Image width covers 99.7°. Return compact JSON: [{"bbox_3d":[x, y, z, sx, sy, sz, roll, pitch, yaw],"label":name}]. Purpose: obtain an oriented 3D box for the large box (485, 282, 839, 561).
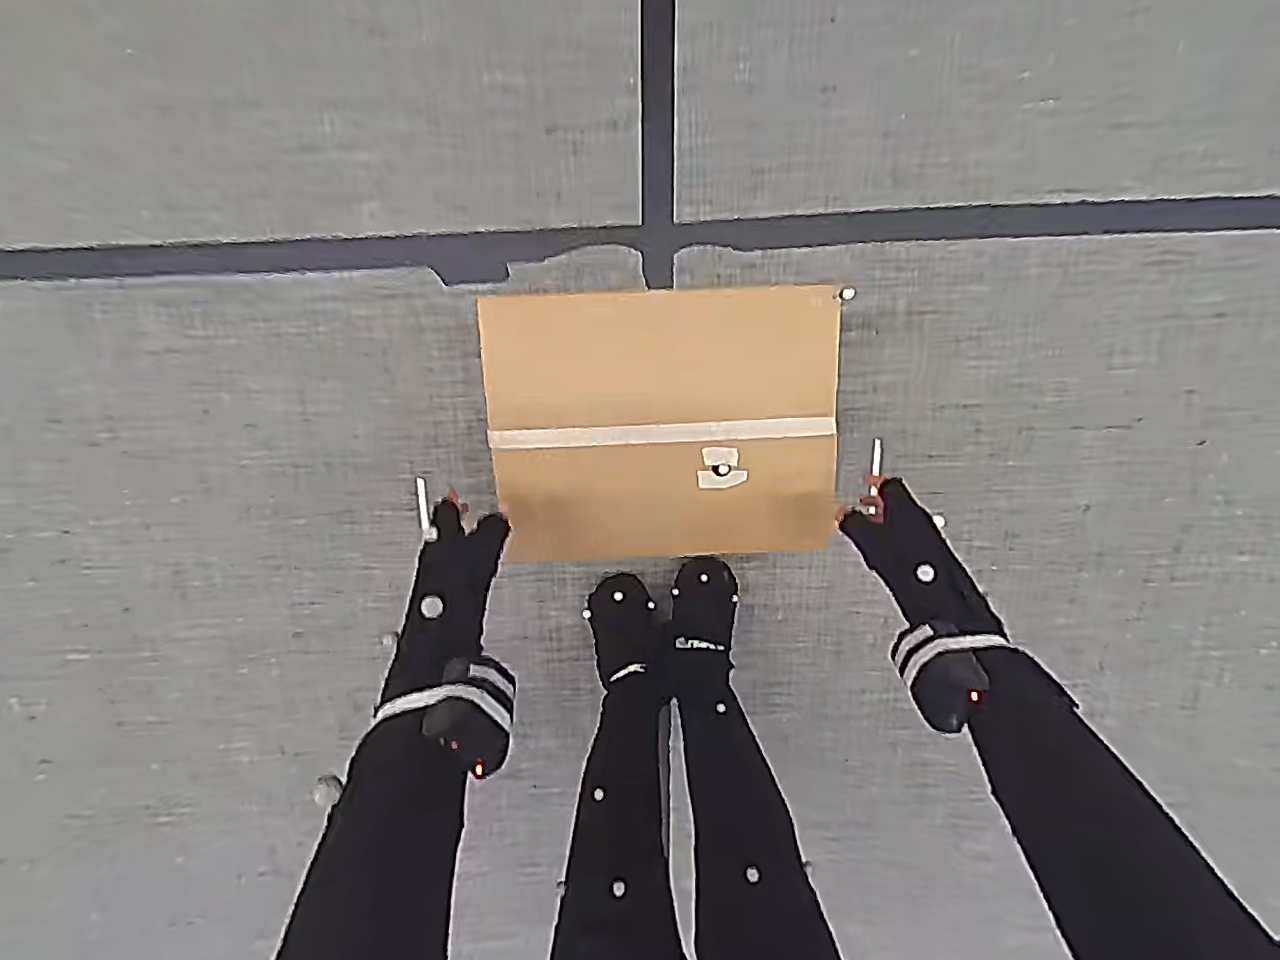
[{"bbox_3d":[0.028,-0.093,0.779,0.408,0.320,0.320,-3,104,-1],"label":"large box"}]
